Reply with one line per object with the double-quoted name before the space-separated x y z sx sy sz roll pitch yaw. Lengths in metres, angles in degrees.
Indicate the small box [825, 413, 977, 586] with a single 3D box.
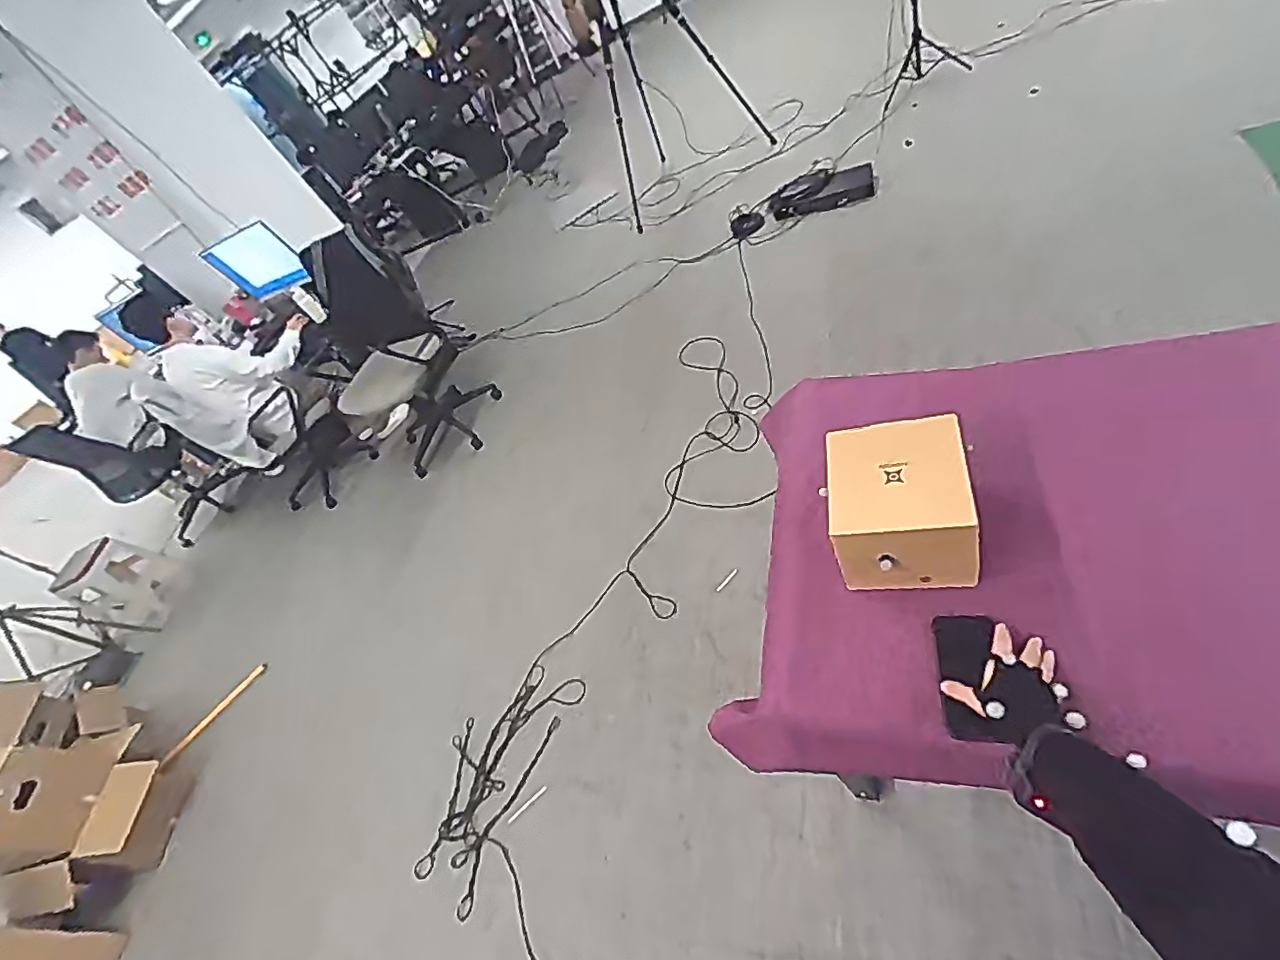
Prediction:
"small box" 0.359 0.038 0.749 0.168 0.176 0.179 -8 50 27
